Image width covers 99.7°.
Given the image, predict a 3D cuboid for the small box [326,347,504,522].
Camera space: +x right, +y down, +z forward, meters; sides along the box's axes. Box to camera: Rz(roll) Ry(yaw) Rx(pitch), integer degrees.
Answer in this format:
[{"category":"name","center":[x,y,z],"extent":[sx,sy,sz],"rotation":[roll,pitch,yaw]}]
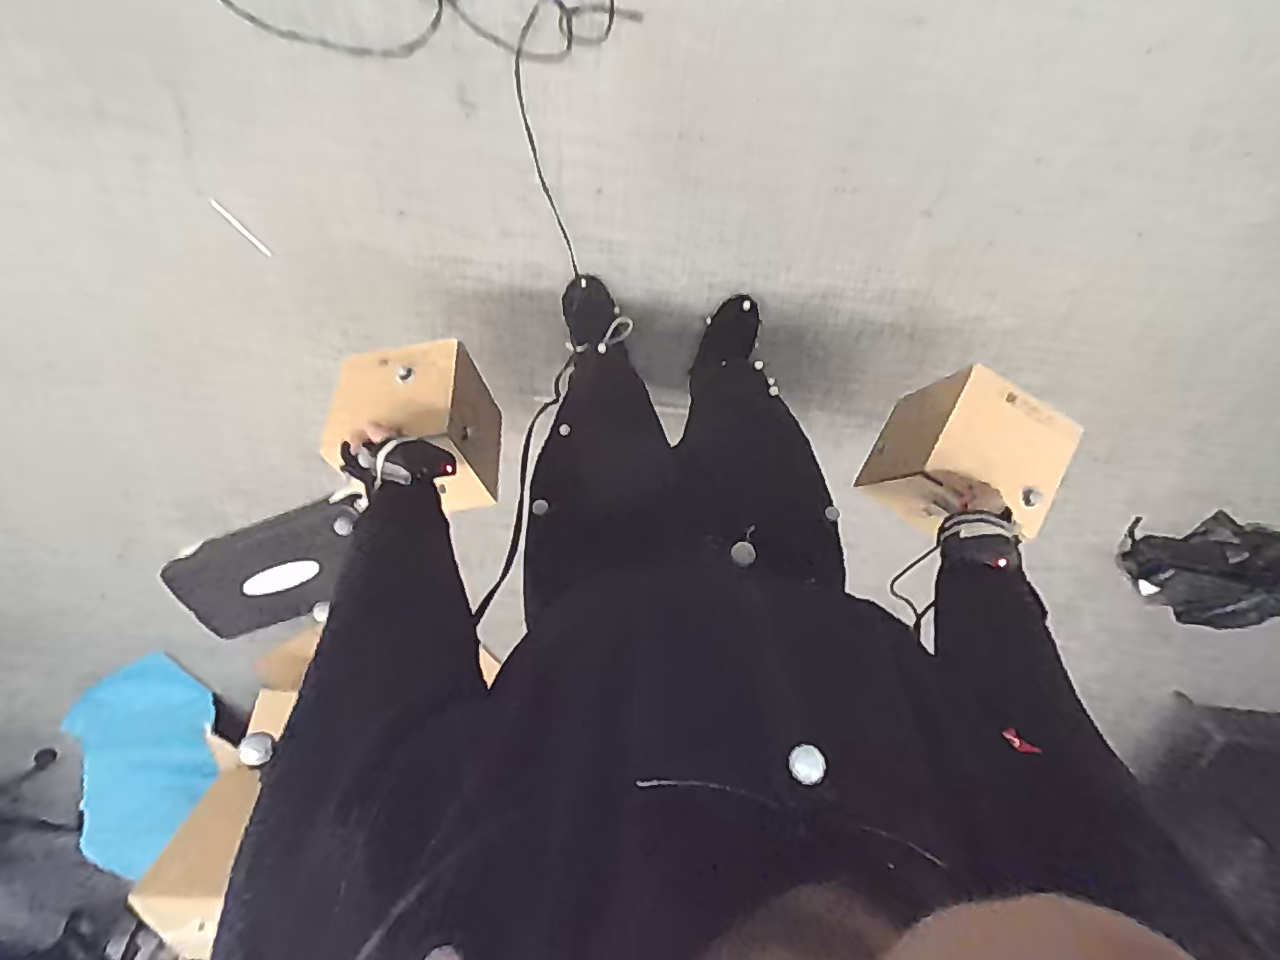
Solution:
[{"category":"small box","center":[-0.302,-0.061,0.772],"extent":[0.168,0.176,0.179],"rotation":[-9,148,5]}]
